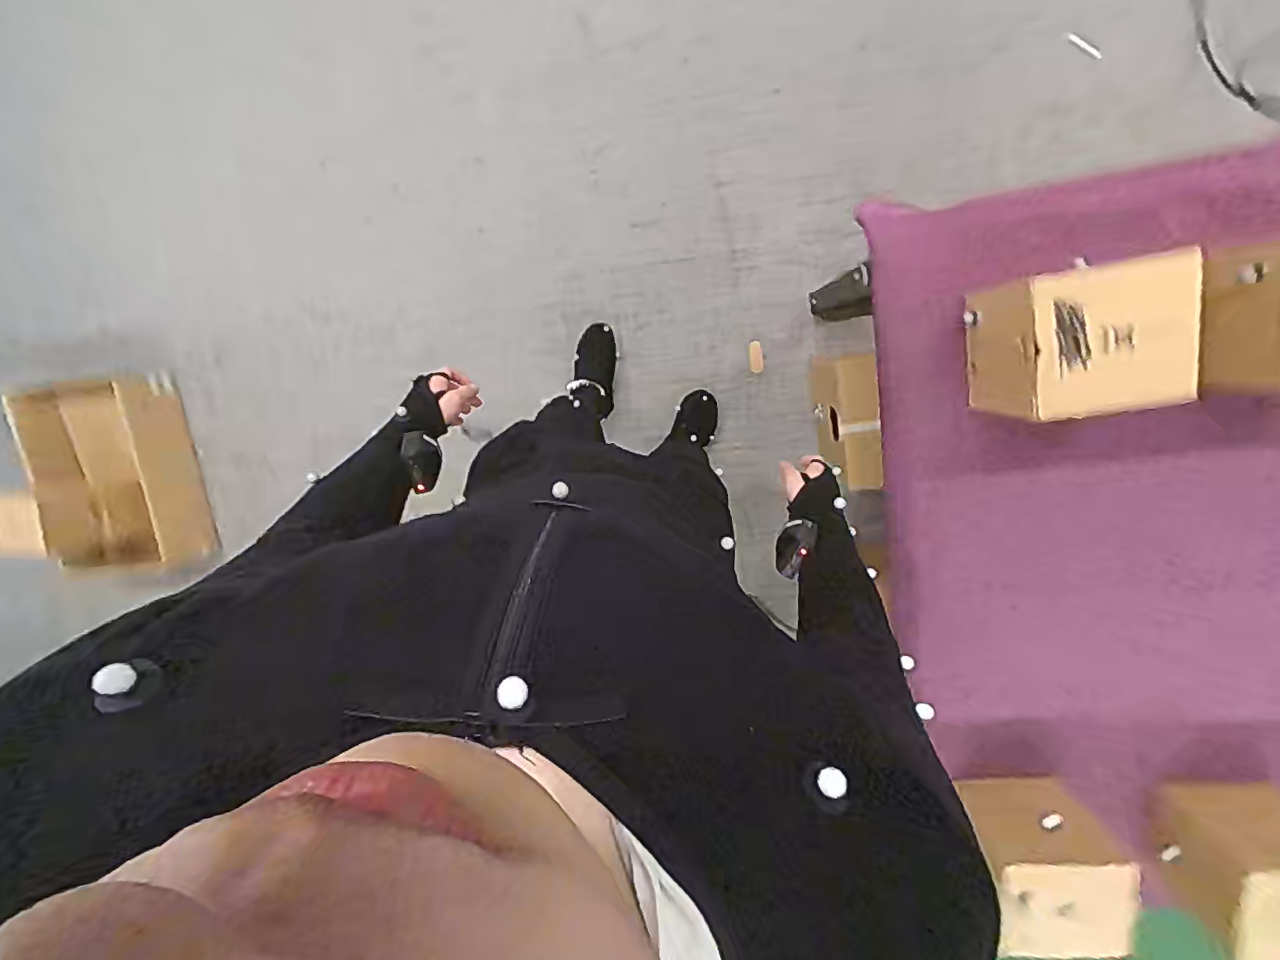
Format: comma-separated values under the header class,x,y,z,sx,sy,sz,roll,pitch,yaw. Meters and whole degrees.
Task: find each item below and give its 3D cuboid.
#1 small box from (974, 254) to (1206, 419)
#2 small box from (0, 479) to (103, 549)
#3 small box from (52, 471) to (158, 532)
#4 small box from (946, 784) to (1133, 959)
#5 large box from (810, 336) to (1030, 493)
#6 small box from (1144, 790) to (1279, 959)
class,x,y,z,sx,sy,sz,roll,pitch,yaw
small box,0.558,-0.176,0.699,0.179,0.176,0.168,-8,102,7
small box,-1.717,0.092,1.556,0.179,0.176,0.168,4,100,5
small box,-1.694,0.065,1.716,0.179,0.176,0.168,0,99,6
small box,0.621,0.613,0.861,0.179,0.176,0.168,-4,100,5
large box,0.678,-0.176,1.367,0.408,0.320,0.320,-8,102,7
small box,0.933,0.602,0.821,0.179,0.176,0.168,-4,99,9
